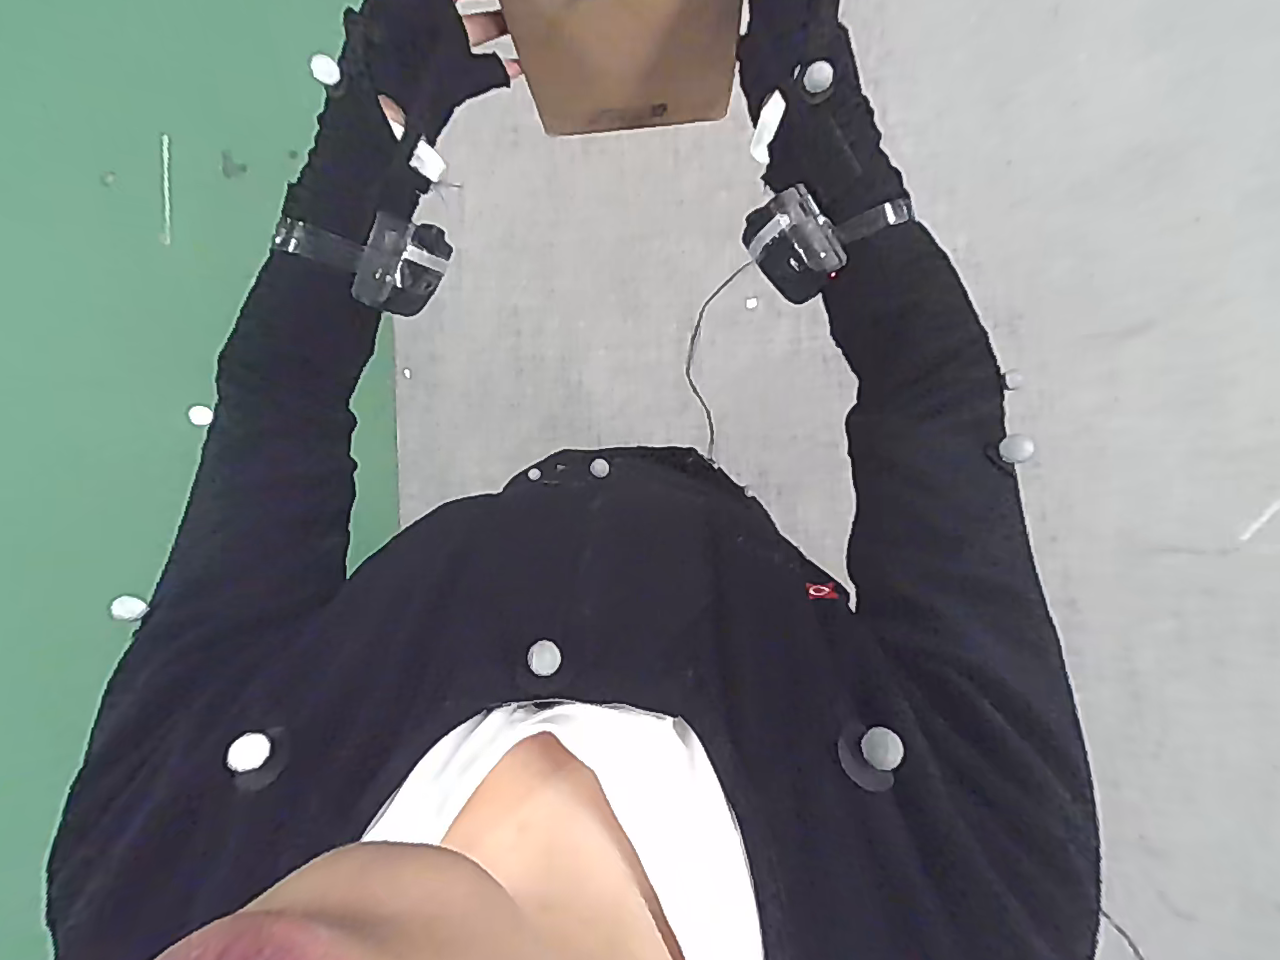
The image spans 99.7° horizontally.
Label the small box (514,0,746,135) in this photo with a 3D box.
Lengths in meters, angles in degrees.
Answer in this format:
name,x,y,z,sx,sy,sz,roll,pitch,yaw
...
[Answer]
name,x,y,z,sx,sy,sz,roll,pitch,yaw
small box,-0.009,-0.407,0.412,0.168,0.176,0.179,-3,85,4
